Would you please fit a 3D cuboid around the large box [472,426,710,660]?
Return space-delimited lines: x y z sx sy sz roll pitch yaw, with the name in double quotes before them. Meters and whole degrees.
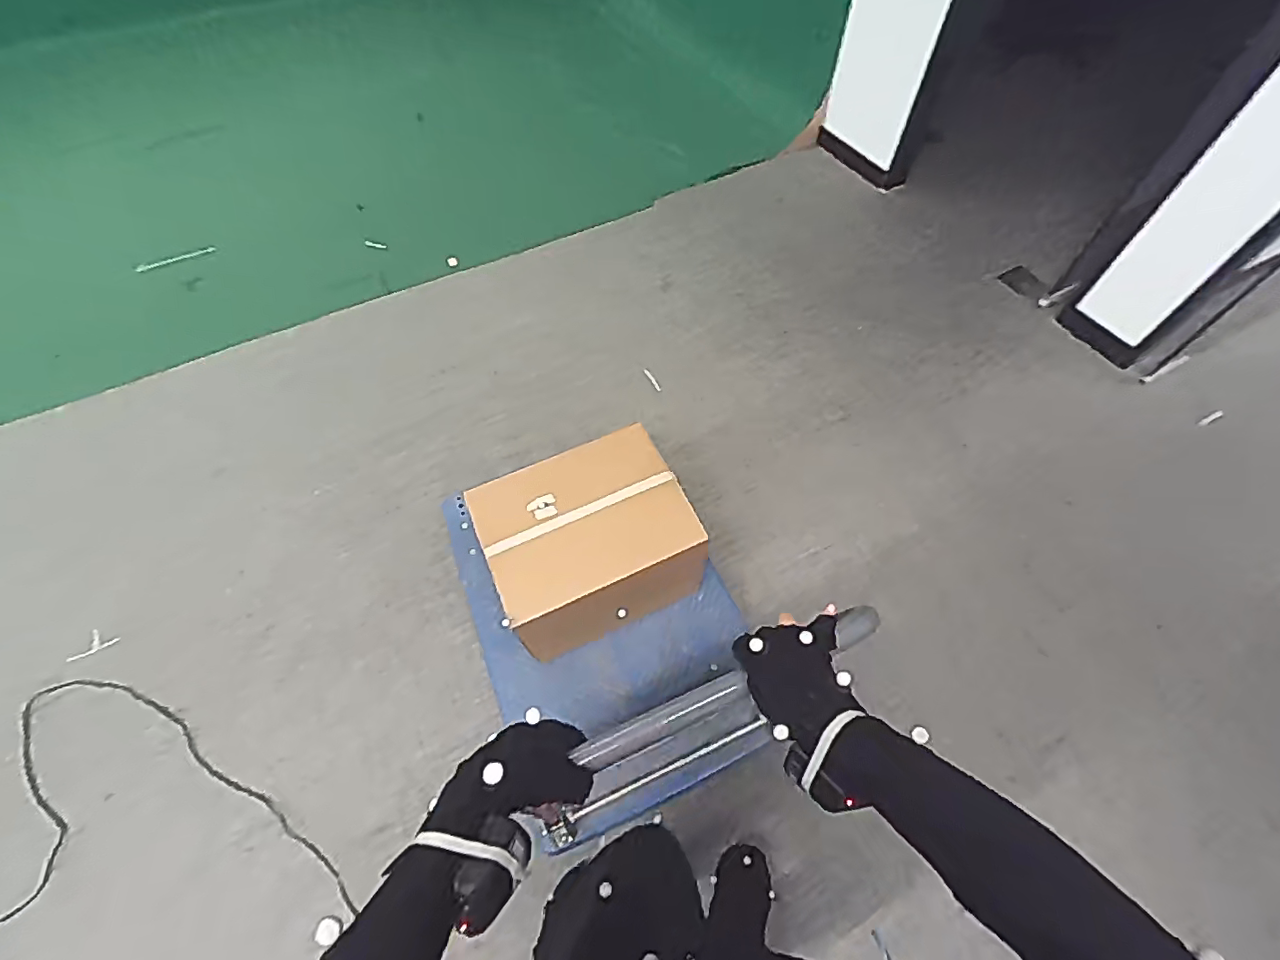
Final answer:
"large box" -0.100 0.148 1.210 0.408 0.320 0.320 -24 62 -11
